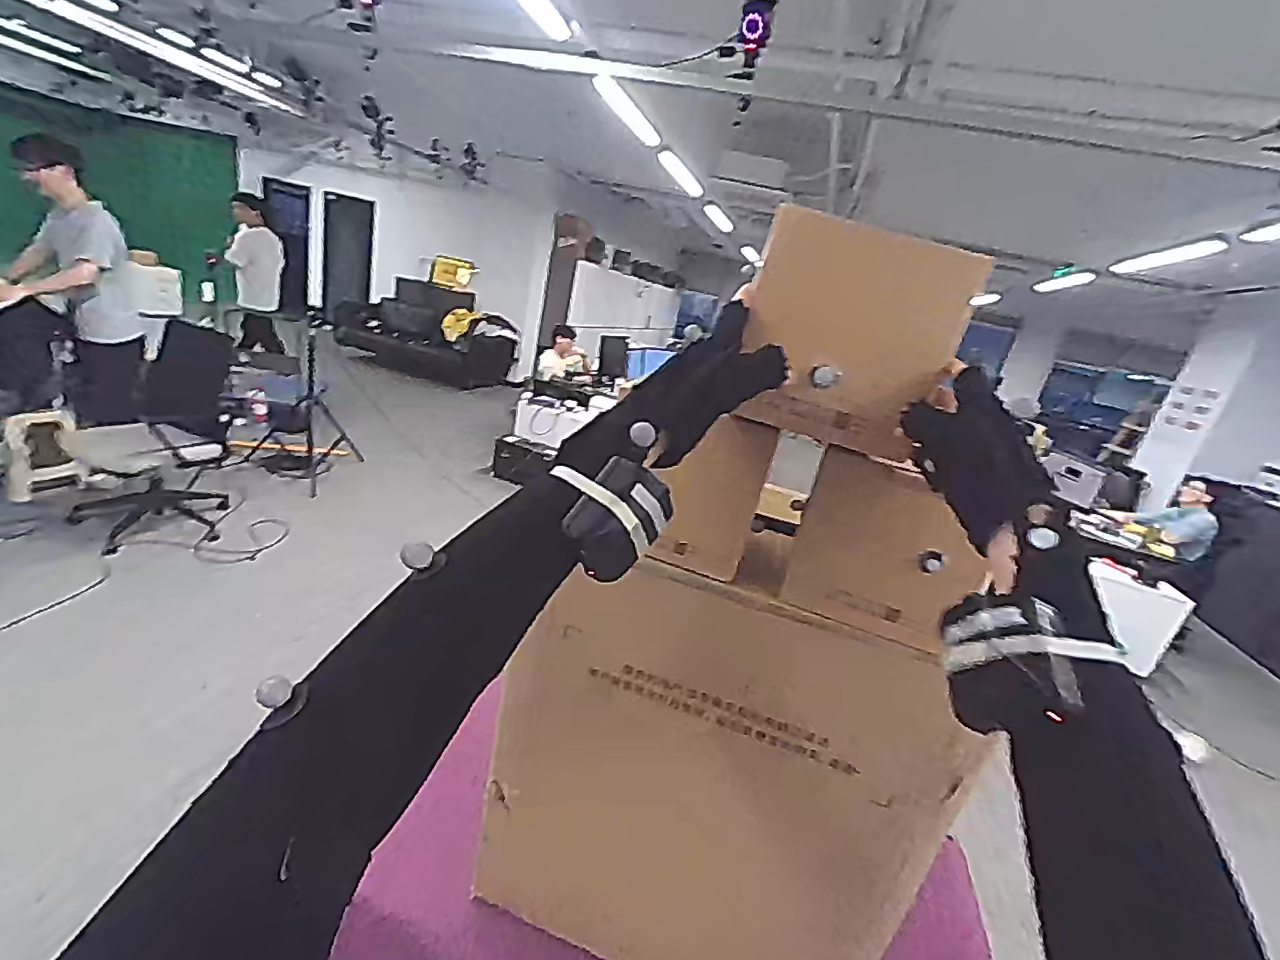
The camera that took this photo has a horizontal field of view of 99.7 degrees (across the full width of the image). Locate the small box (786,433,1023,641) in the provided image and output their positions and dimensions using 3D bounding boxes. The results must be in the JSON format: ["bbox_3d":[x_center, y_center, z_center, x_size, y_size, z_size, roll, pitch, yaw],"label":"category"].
[{"bbox_3d":[0.262,0.041,0.576,0.168,0.176,0.179,18,18,16],"label":"small box"}]

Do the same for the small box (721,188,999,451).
[{"bbox_3d":[0.179,-0.140,0.504,0.168,0.176,0.179,18,17,5],"label":"small box"}]
